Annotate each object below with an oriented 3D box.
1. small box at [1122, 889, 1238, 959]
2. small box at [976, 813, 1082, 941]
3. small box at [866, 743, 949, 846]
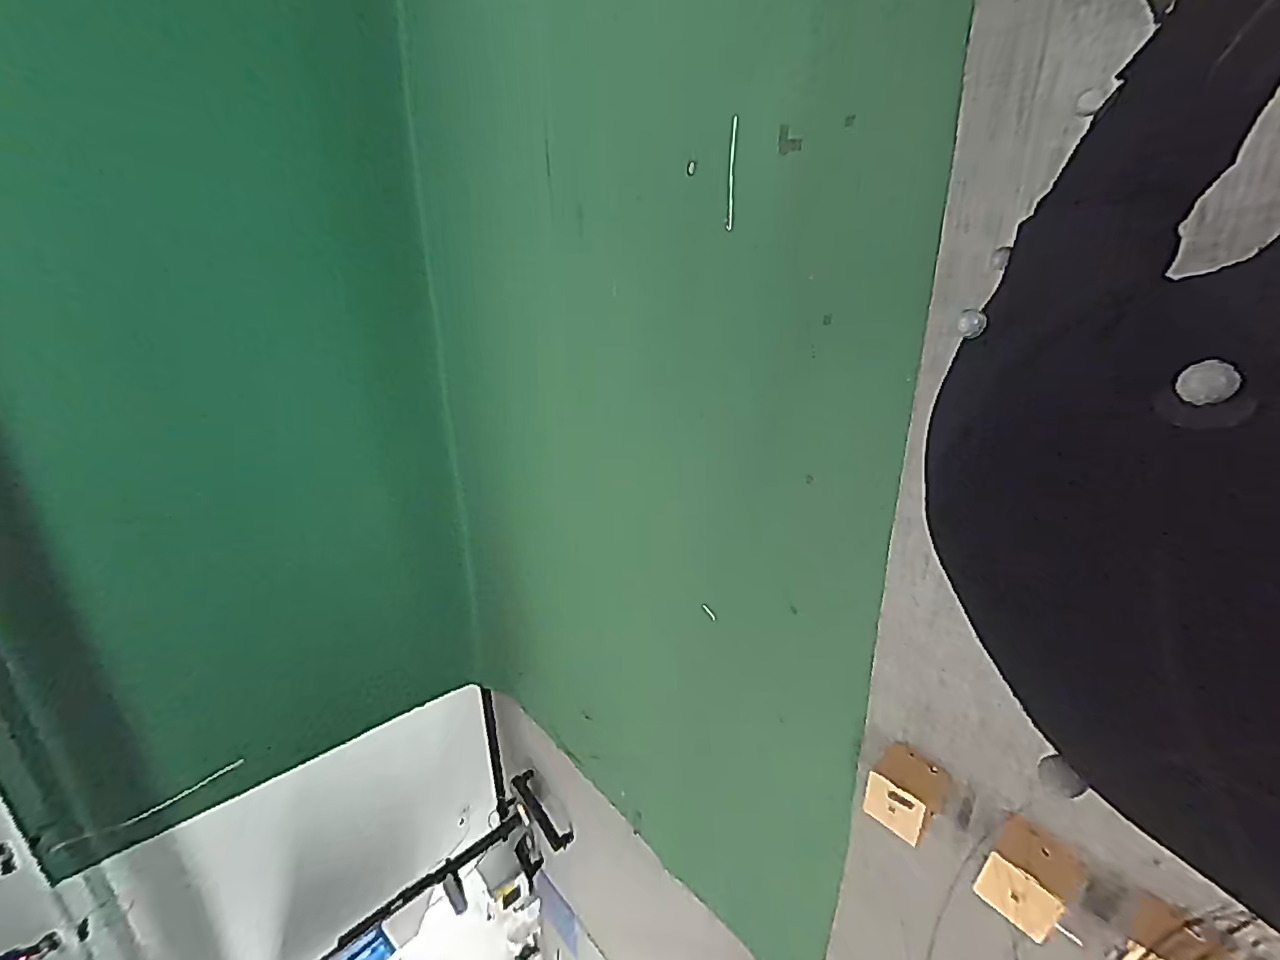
[{"bbox_3d":[1.222,1.100,1.227,0.168,0.176,0.179,15,113,45],"label":"small box"},{"bbox_3d":[1.033,1.044,1.433,0.168,0.176,0.179,27,122,42],"label":"small box"},{"bbox_3d":[0.820,0.950,1.652,0.168,0.176,0.179,21,120,44],"label":"small box"}]
